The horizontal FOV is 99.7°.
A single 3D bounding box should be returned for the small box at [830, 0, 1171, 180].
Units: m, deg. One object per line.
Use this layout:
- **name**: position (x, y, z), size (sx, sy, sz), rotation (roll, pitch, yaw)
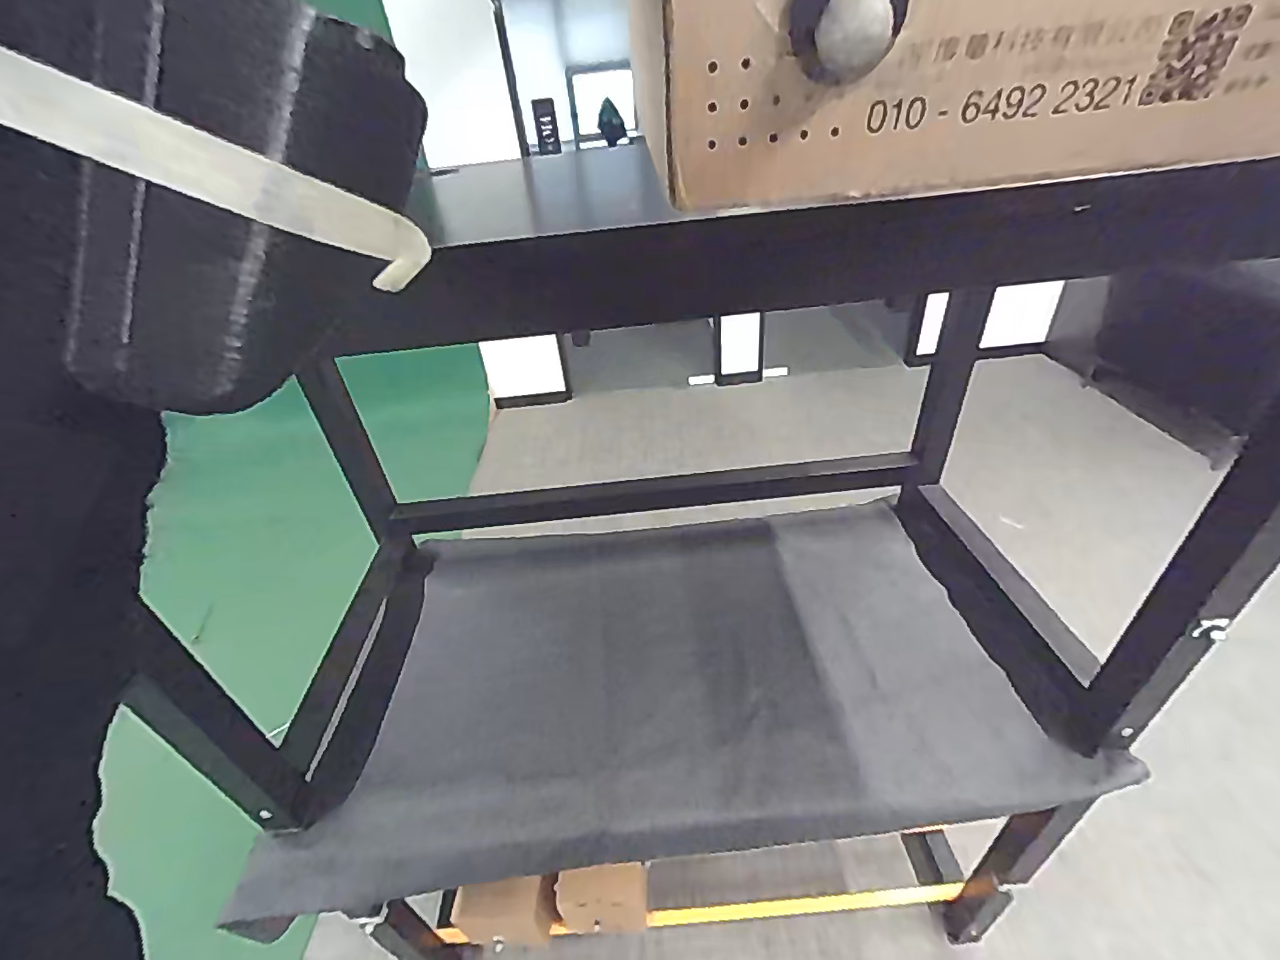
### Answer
- **small box**: position (0.261, -0.342, 0.424), size (0.168, 0.176, 0.179), rotation (-6, 34, 1)
